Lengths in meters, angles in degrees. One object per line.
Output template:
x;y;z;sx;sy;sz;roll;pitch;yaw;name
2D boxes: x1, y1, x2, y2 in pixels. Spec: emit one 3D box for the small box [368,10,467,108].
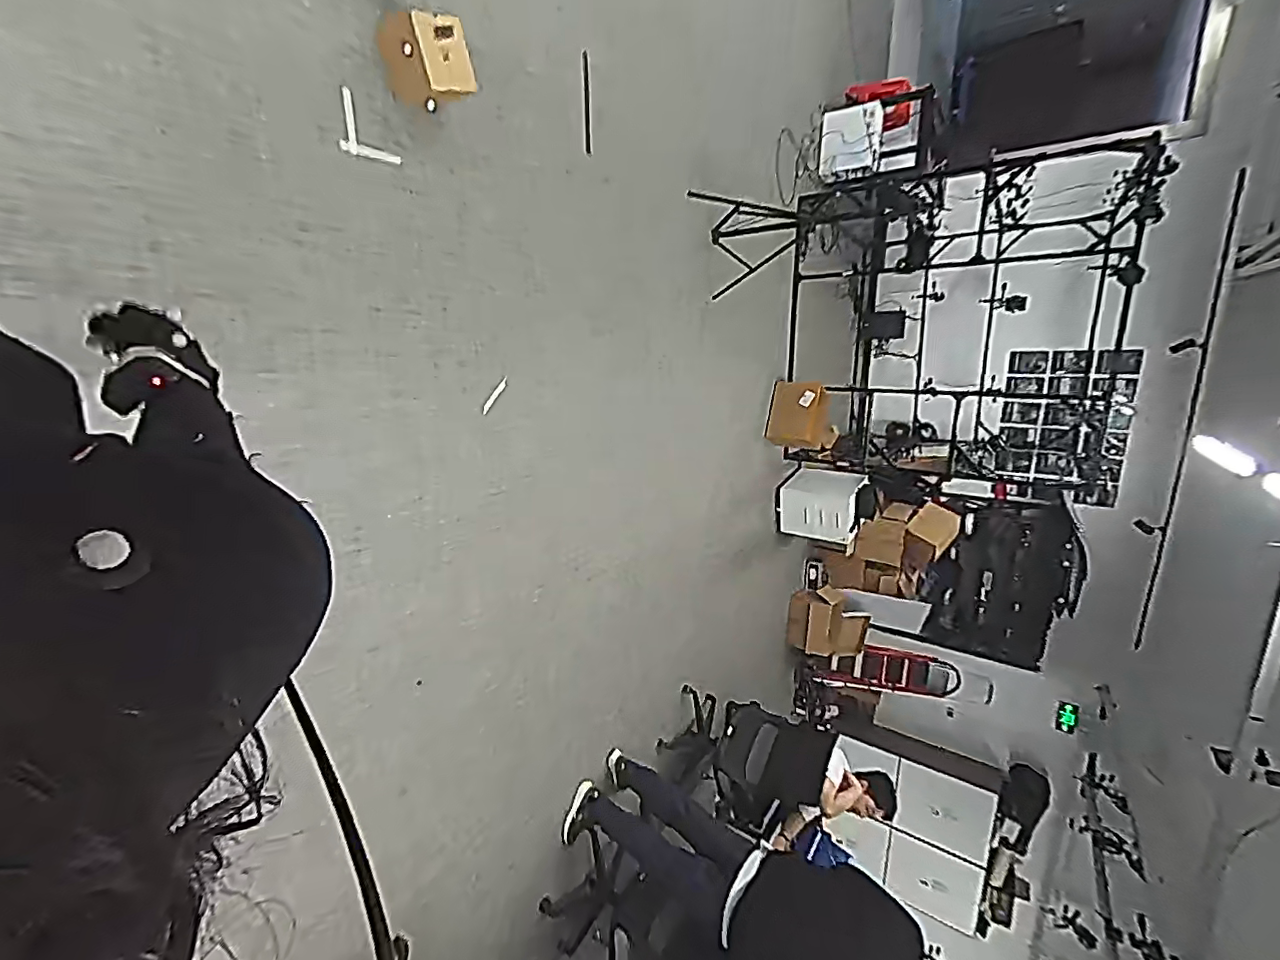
-0.627;-1.174;1.520;0.168;0.176;0.179;-41;130;-45;small box
